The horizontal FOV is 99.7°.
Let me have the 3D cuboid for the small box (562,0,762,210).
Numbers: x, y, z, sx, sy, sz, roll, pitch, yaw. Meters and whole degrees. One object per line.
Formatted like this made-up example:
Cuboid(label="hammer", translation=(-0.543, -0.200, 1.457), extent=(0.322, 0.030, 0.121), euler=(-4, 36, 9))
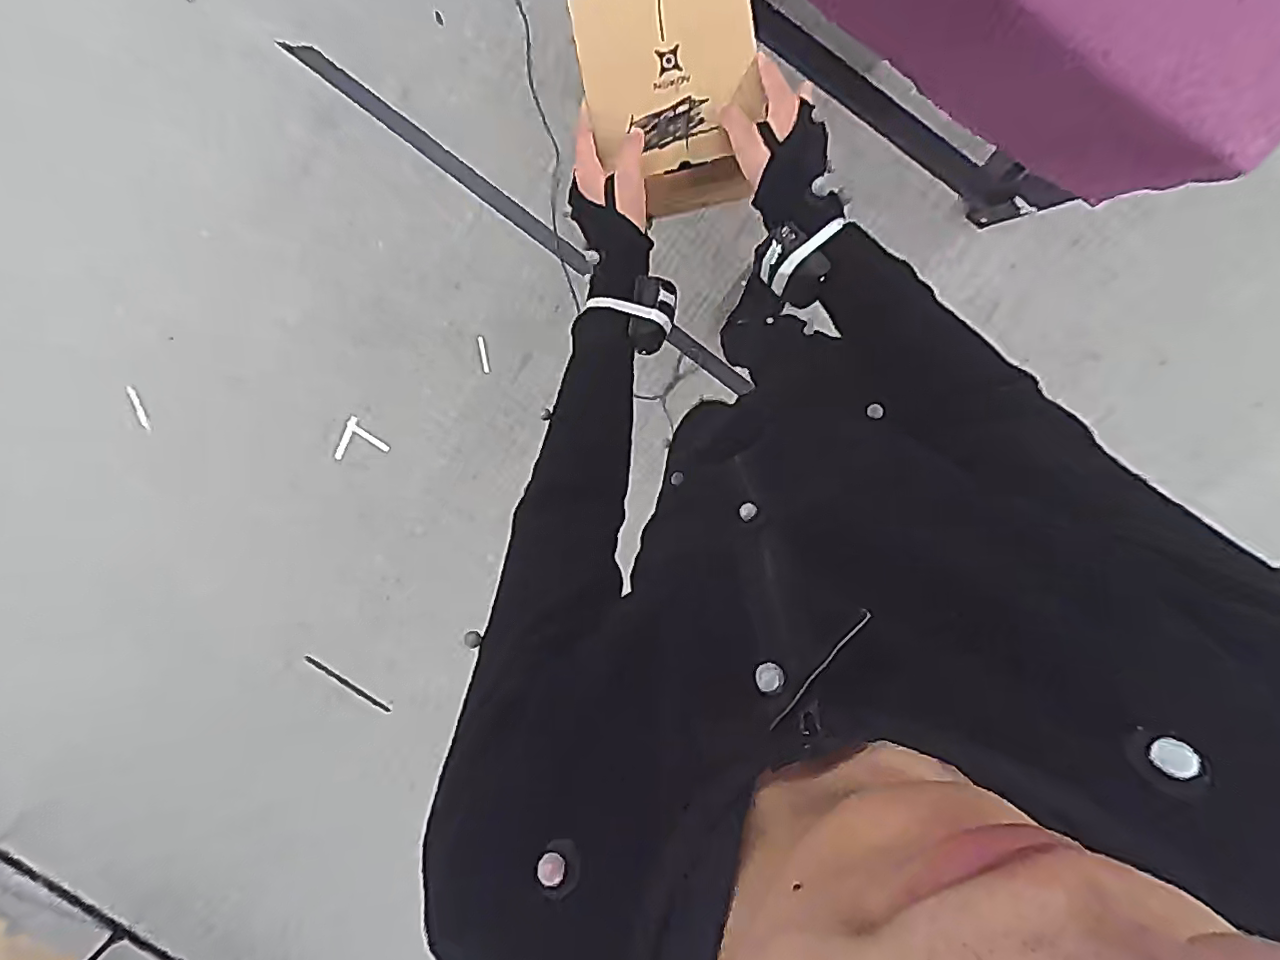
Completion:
Cuboid(label="small box", translation=(0.028, -0.409, 0.581), extent=(0.168, 0.176, 0.179), euler=(-11, 102, 7))
